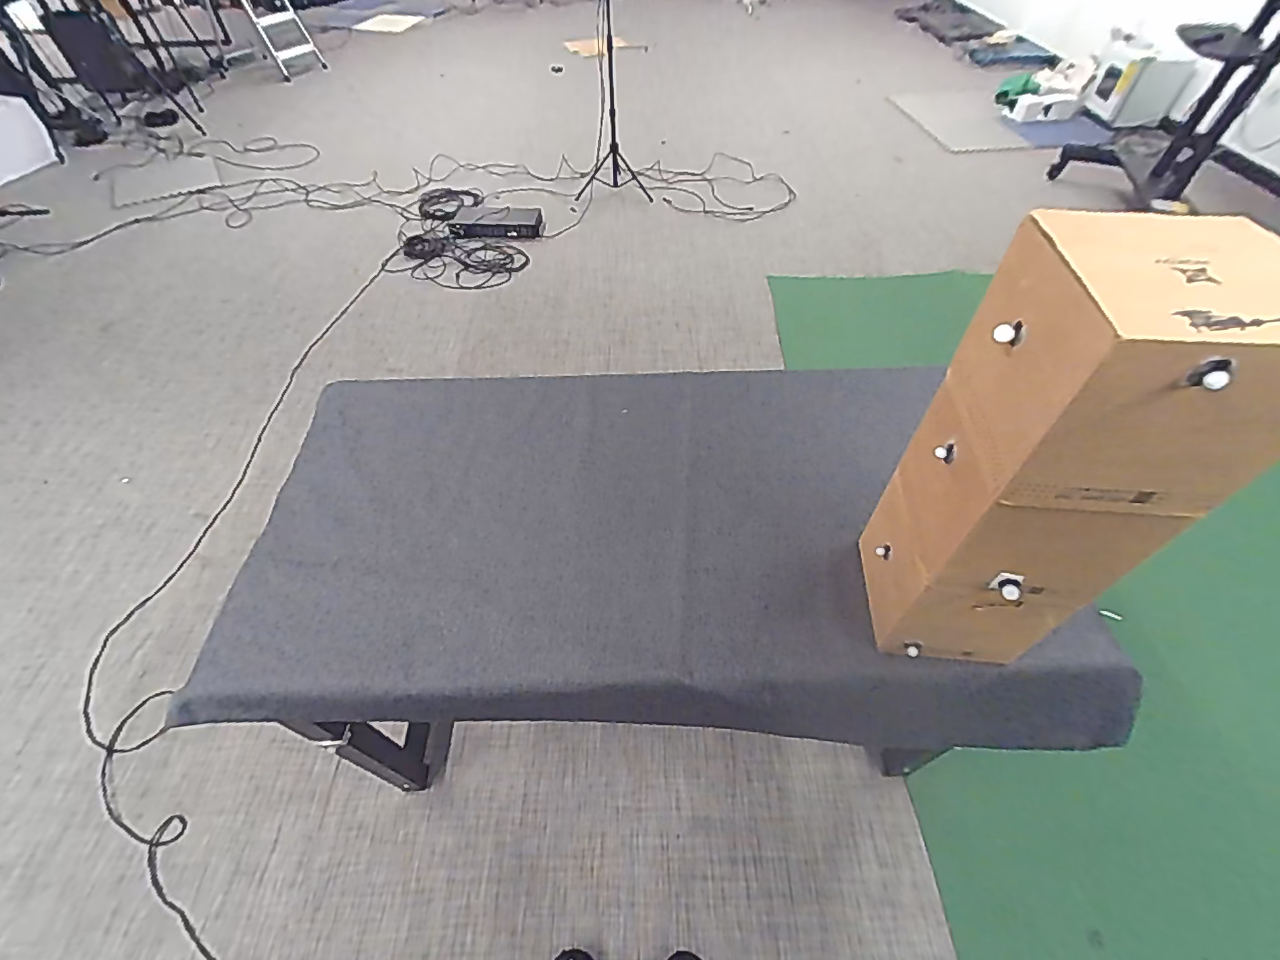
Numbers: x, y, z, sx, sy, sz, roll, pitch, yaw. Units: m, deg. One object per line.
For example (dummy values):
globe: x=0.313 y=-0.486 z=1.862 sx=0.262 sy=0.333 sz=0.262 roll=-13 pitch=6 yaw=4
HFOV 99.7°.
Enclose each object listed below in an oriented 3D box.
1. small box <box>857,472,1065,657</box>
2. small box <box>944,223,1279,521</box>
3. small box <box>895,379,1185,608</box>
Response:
small box: x=0.397 y=0.113 z=0.704 sx=0.168 sy=0.176 sz=0.179 roll=5 pitch=50 yaw=5
small box: x=0.383 y=-0.090 z=0.450 sx=0.168 sy=0.176 sz=0.179 roll=4 pitch=49 yaw=6
small box: x=0.392 y=0.013 z=0.577 sx=0.168 sy=0.176 sz=0.179 roll=4 pitch=52 yaw=6
